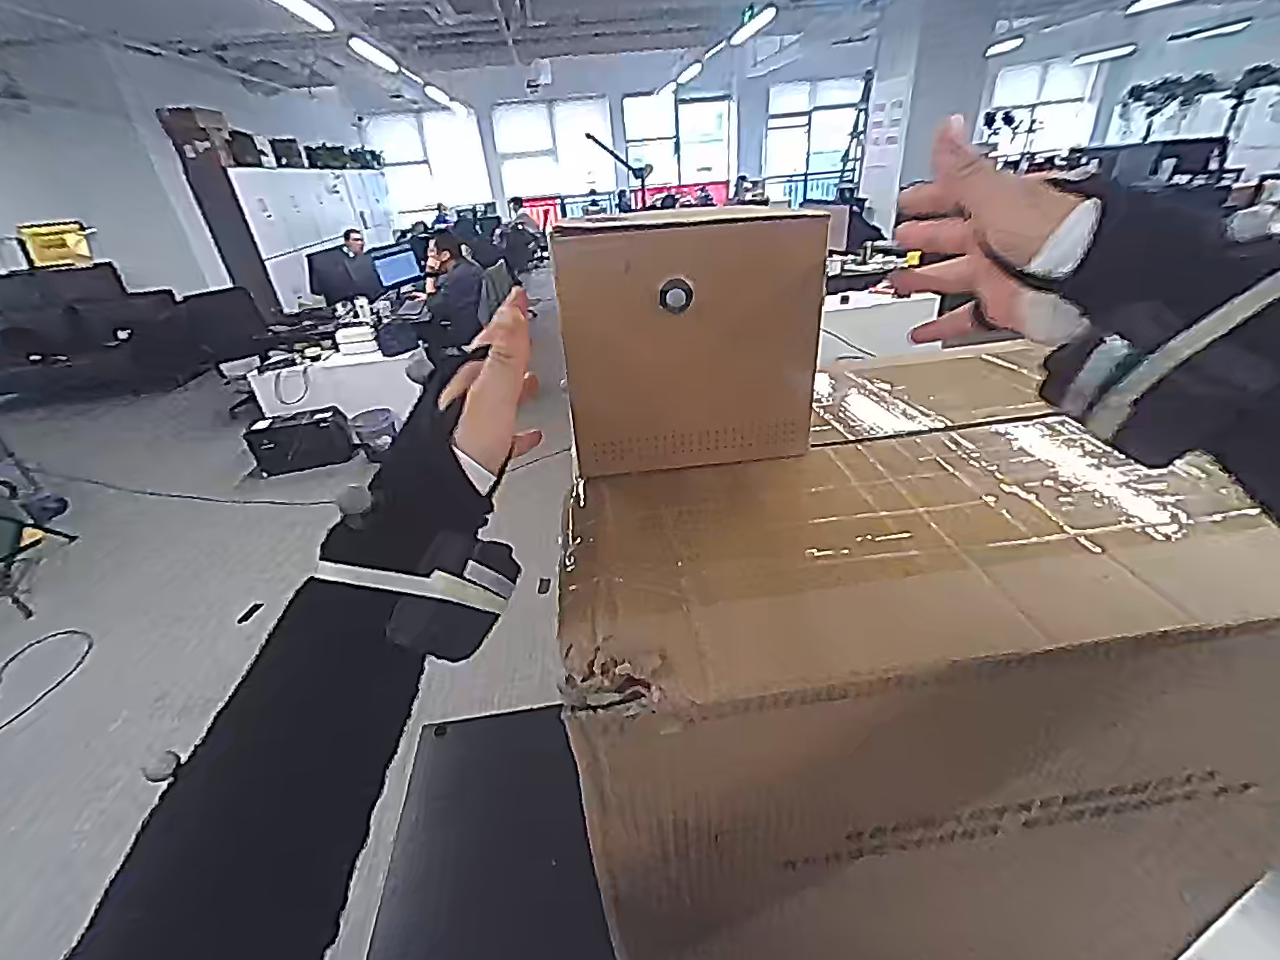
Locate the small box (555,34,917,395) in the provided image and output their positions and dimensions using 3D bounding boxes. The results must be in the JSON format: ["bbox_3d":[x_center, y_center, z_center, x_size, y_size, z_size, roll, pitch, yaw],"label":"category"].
[{"bbox_3d":[0.045,-0.161,0.356,0.179,0.176,0.168,-6,29,-4],"label":"small box"}]
